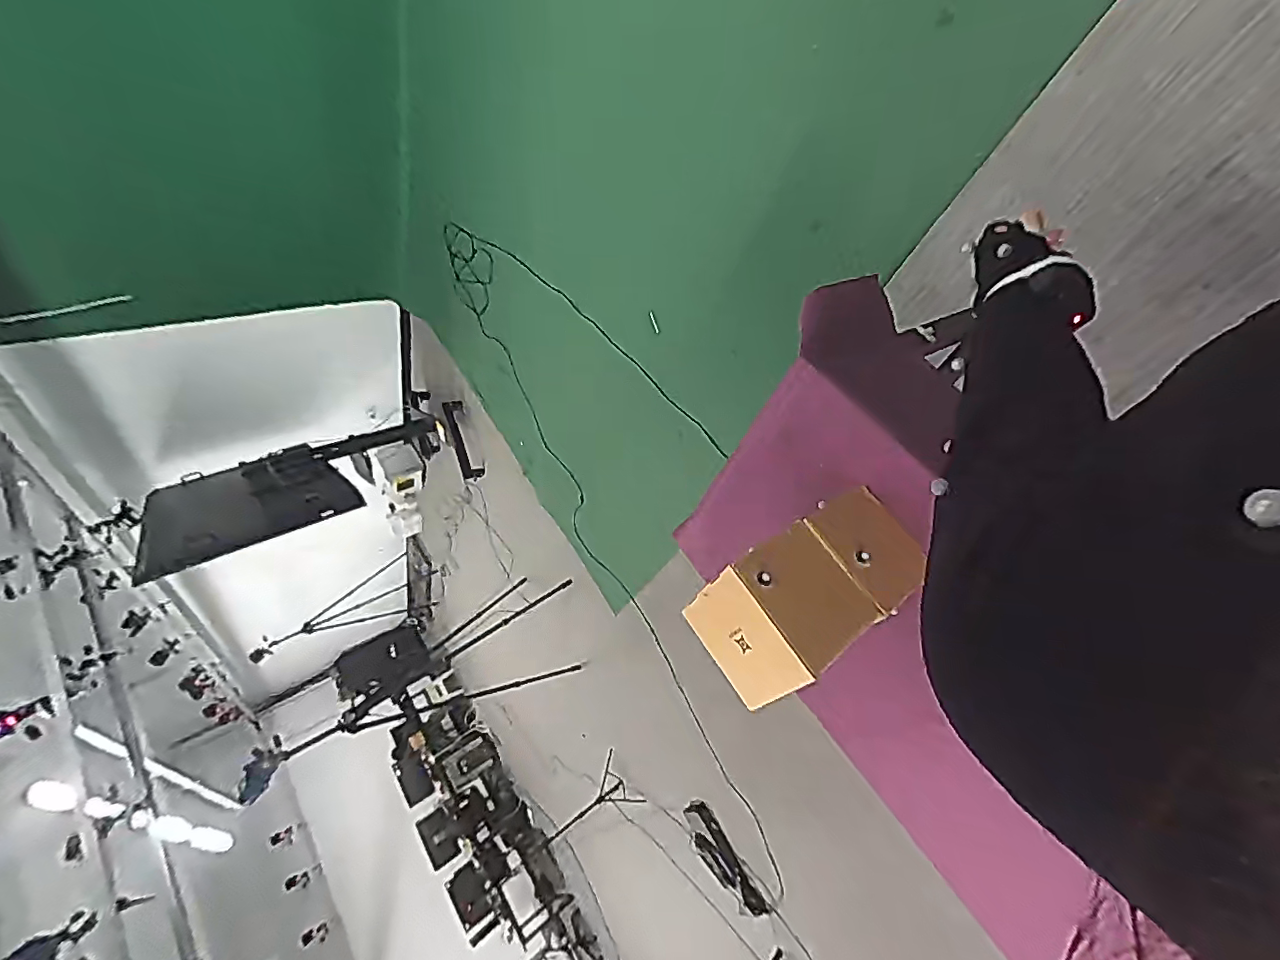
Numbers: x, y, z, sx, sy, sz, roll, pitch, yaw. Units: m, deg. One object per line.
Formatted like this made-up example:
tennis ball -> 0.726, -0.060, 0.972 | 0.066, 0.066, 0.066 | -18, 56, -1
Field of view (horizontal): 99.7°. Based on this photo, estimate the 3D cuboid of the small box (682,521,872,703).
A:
small box -> 0.201, 0.191, 0.801 | 0.179, 0.176, 0.168 | 54, 143, 18

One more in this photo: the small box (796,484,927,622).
small box -> 0.326, 0.135, 0.889 | 0.179, 0.176, 0.168 | 55, 143, 16
